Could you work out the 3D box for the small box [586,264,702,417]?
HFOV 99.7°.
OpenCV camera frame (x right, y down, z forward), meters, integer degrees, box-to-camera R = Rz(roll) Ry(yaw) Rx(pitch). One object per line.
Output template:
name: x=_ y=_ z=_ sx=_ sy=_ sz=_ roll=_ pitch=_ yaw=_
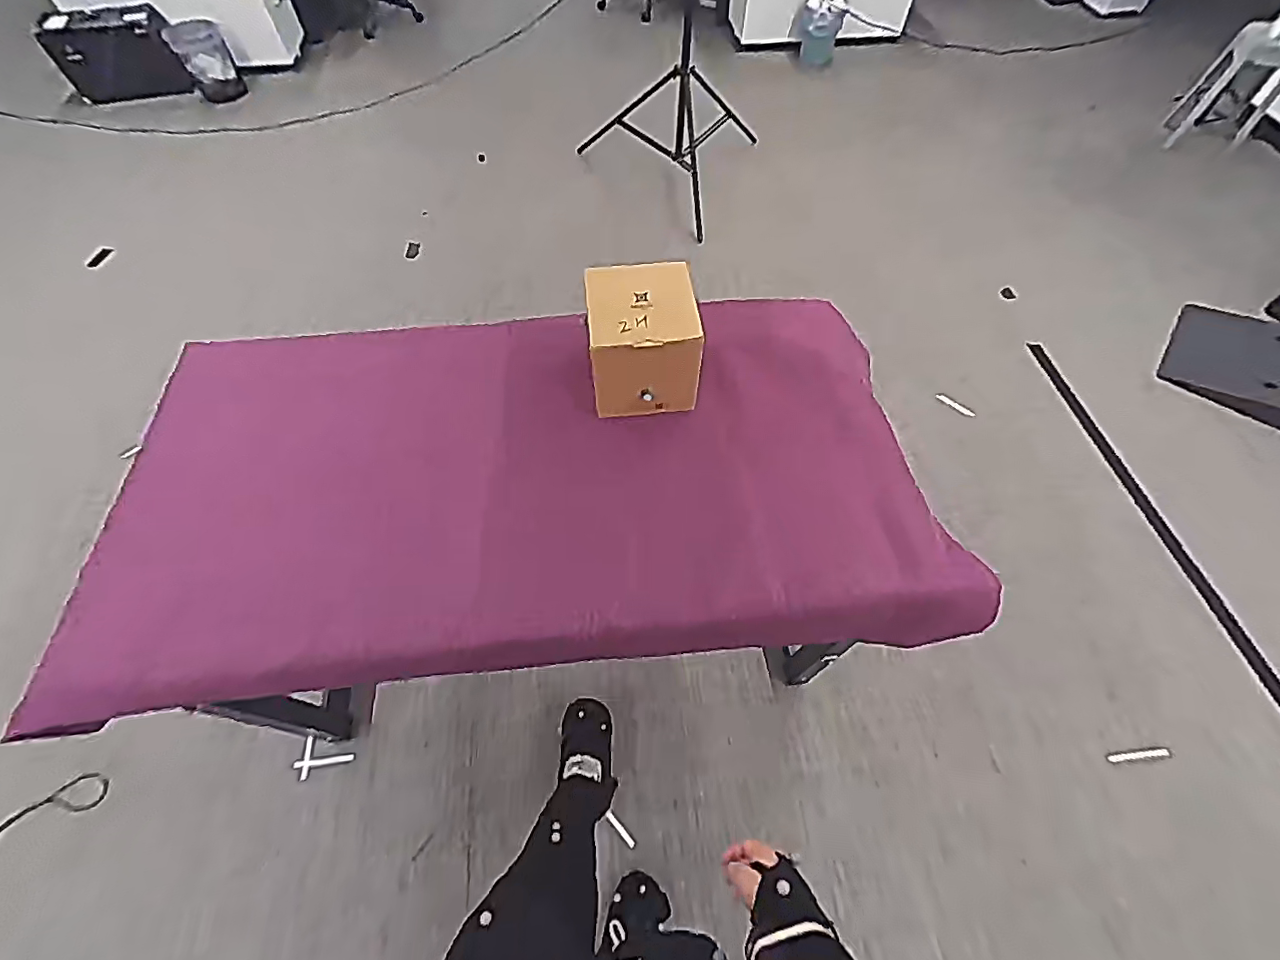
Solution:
small box: x=0.001 y=-0.226 z=0.889 sx=0.168 sy=0.176 sz=0.179 roll=-6 pitch=60 yaw=-3
